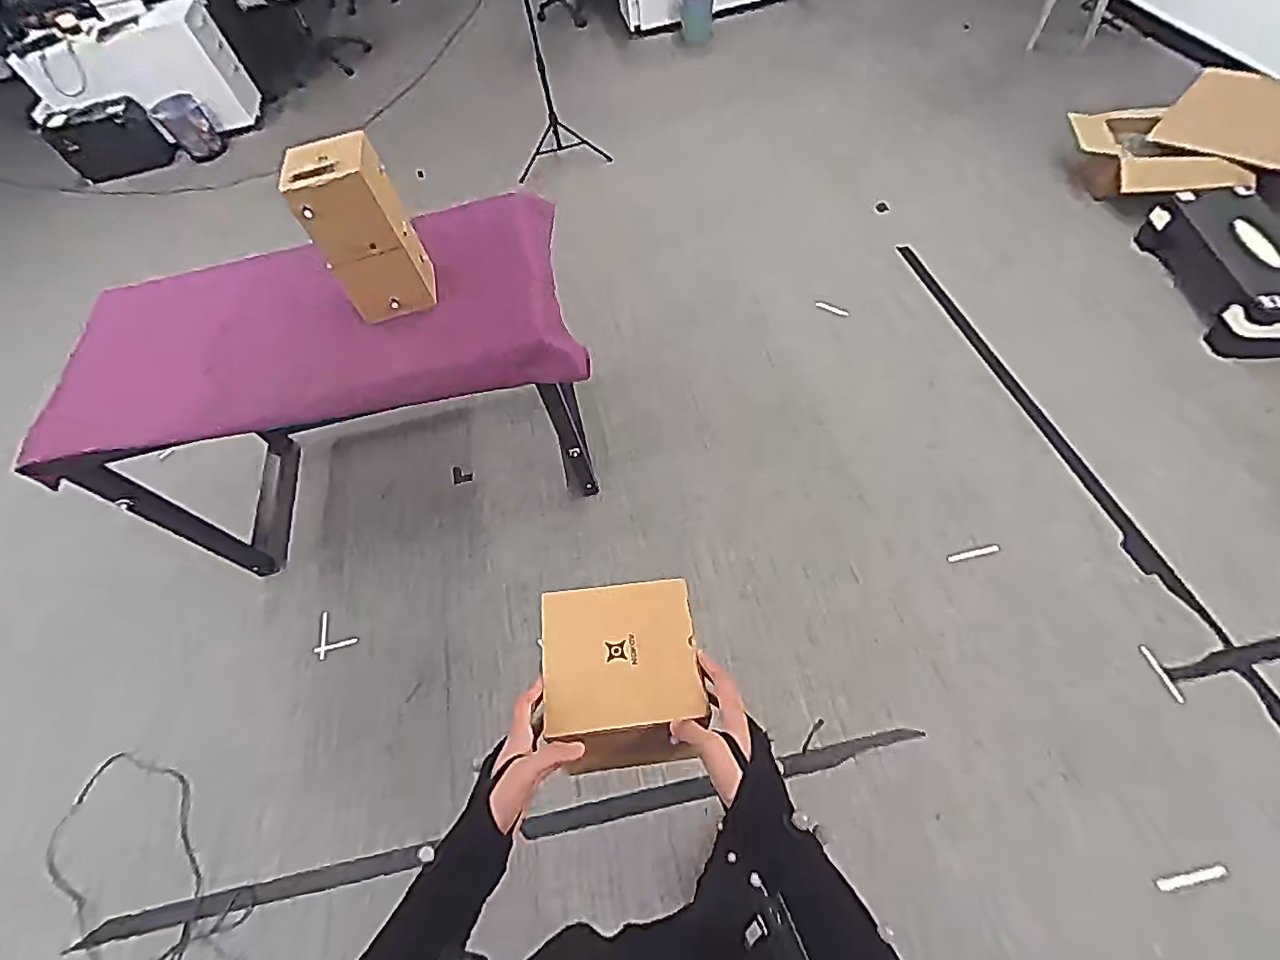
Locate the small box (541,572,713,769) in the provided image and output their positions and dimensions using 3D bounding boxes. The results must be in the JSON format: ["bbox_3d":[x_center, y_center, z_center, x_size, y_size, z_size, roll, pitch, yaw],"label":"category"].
[{"bbox_3d":[-0.019,0.232,0.651,0.179,0.176,0.168,-6,50,-5],"label":"small box"}]

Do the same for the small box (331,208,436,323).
[{"bbox_3d":[-0.600,-0.505,1.286,0.179,0.176,0.168,-16,58,-2],"label":"small box"}]
